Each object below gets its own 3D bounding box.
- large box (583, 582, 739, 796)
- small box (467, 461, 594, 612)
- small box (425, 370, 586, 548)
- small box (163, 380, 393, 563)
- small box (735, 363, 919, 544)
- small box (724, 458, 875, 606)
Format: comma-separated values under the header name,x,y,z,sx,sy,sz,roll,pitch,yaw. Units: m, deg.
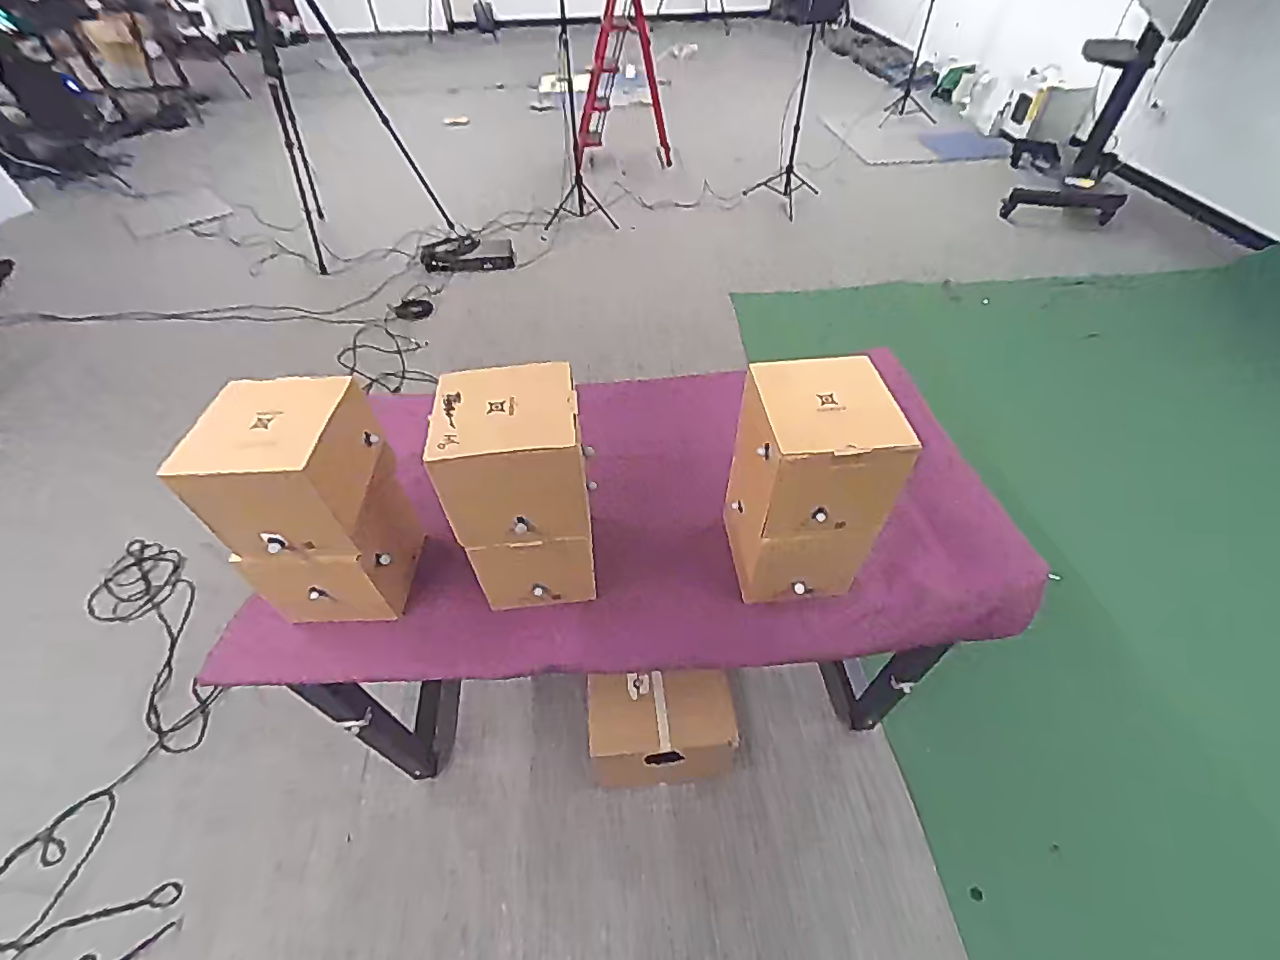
name,x,y,z,sx,sy,sz,roll,pitch,yaw
large box,0.033,0.515,1.346,0.320,0.320,0.408,-5,49,-3
small box,-0.162,0.083,0.844,0.168,0.176,0.179,-6,48,-4
small box,-0.164,-0.027,0.722,0.179,0.176,0.168,-5,47,-5
small box,-0.448,-0.011,0.711,0.168,0.176,0.179,-3,48,-1
small box,0.233,-0.036,0.730,0.168,0.176,0.179,-5,49,-3
small box,0.233,0.076,0.848,0.168,0.176,0.179,-4,49,-3
